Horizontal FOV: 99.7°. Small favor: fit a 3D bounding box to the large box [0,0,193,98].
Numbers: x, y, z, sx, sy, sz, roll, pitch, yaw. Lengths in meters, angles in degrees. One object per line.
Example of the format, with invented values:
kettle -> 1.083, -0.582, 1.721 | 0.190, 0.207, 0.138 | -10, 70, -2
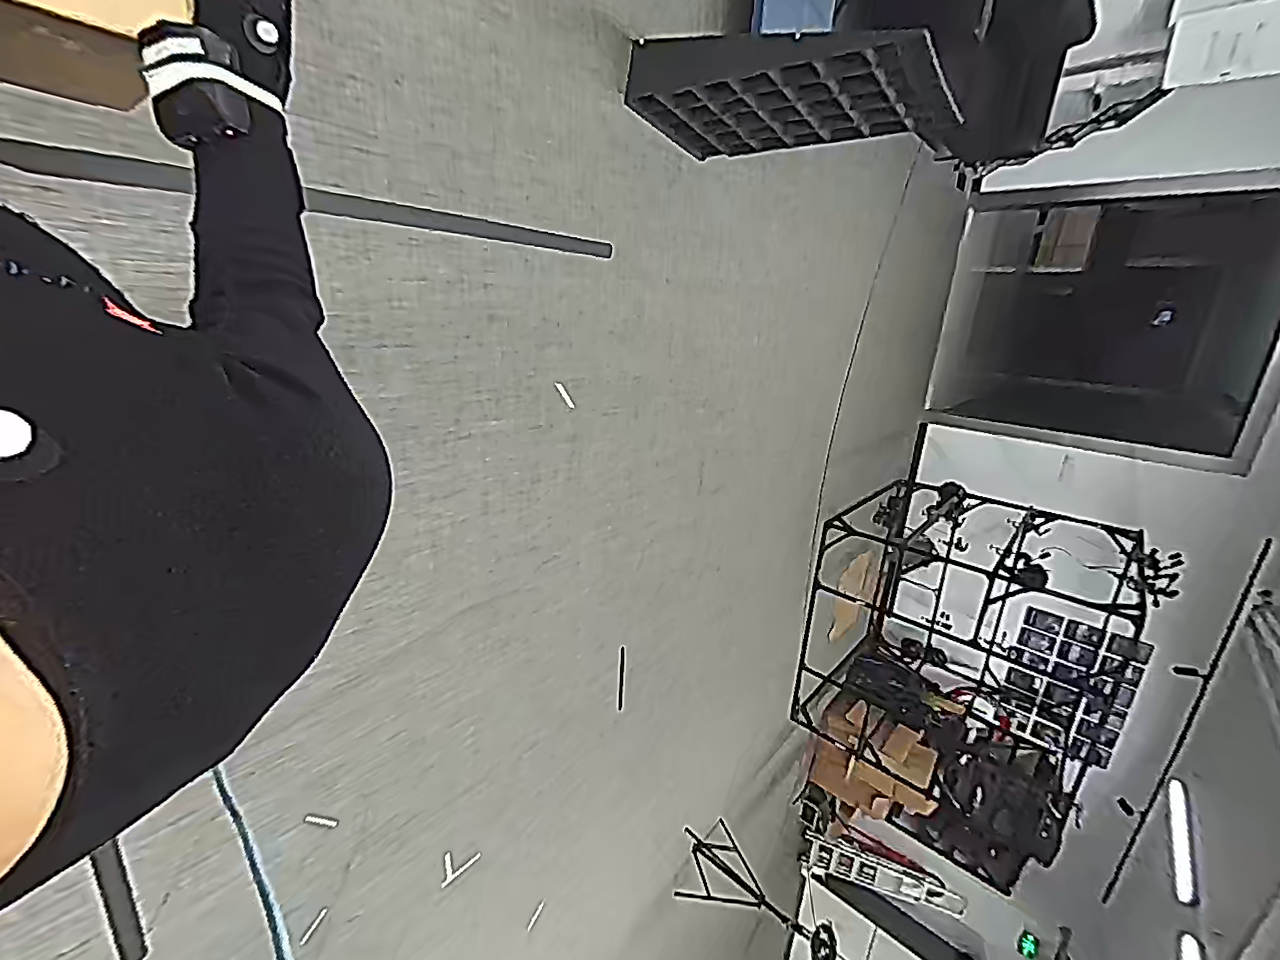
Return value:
large box -> -0.559, -0.468, 0.296 | 0.408, 0.320, 0.320 | -15, 119, -48
